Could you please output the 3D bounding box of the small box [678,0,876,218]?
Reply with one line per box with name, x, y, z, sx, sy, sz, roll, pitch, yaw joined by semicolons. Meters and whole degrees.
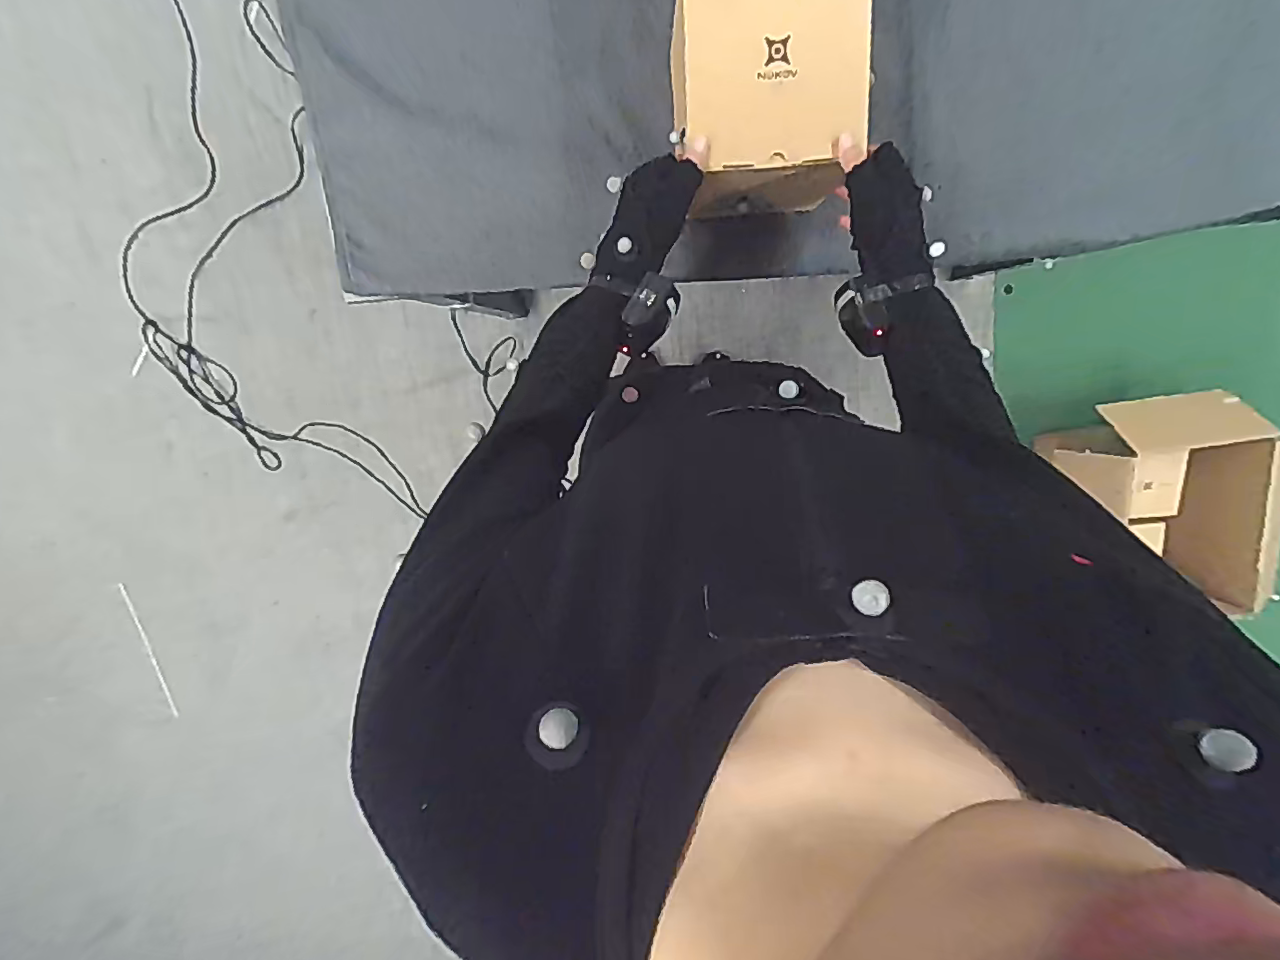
small box;0.128;-0.392;0.563;0.168;0.176;0.179;-3;103;2
